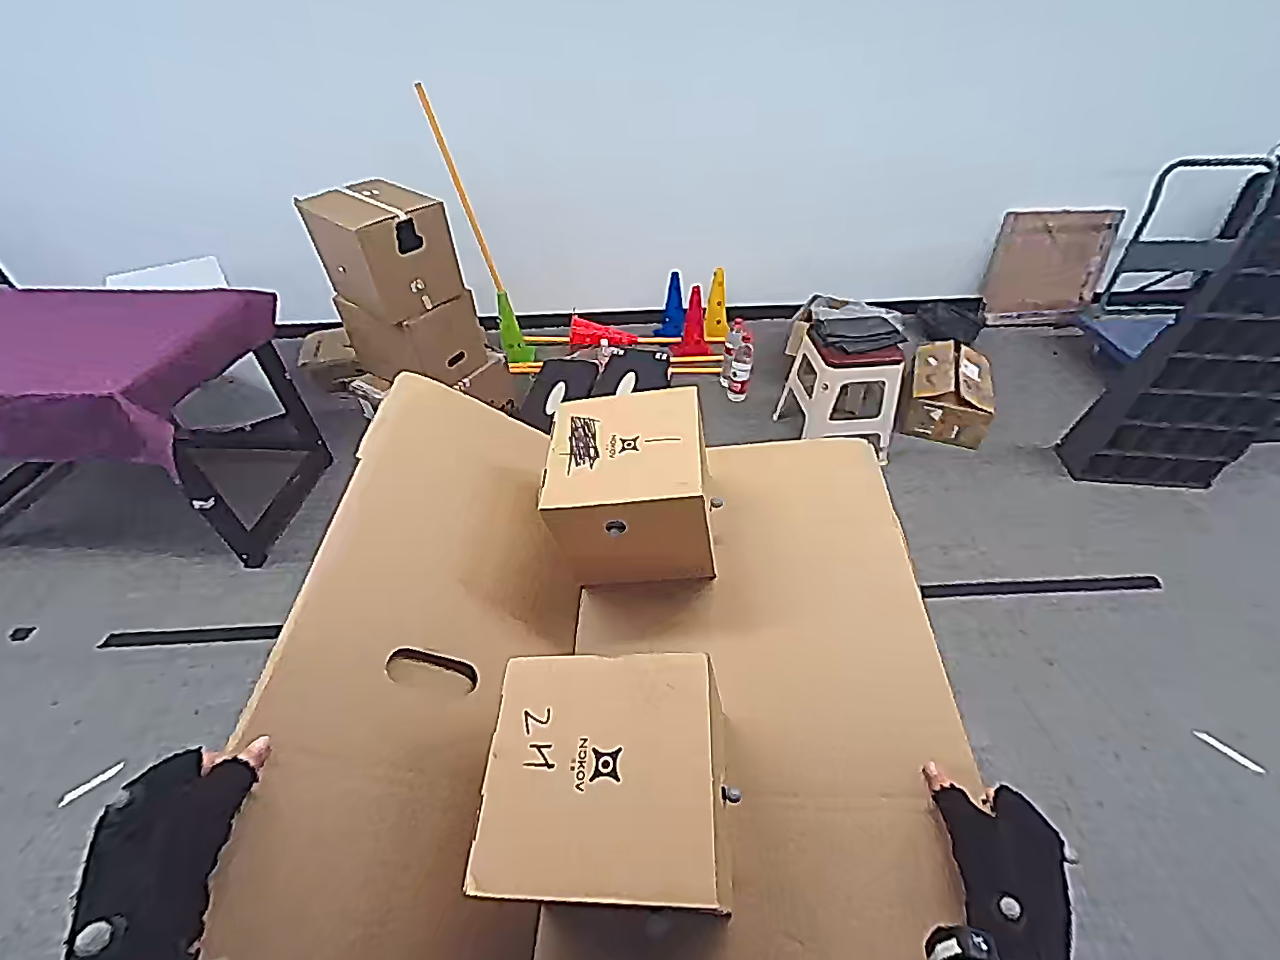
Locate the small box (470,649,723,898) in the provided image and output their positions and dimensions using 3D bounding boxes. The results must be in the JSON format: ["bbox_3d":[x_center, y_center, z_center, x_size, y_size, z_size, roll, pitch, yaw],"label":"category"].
[{"bbox_3d":[-0.017,0.261,0.479,0.179,0.176,0.168,-4,50,11],"label":"small box"}]

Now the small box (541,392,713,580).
[{"bbox_3d":[-0.005,0.014,0.680,0.179,0.176,0.168,-5,50,9],"label":"small box"}]
